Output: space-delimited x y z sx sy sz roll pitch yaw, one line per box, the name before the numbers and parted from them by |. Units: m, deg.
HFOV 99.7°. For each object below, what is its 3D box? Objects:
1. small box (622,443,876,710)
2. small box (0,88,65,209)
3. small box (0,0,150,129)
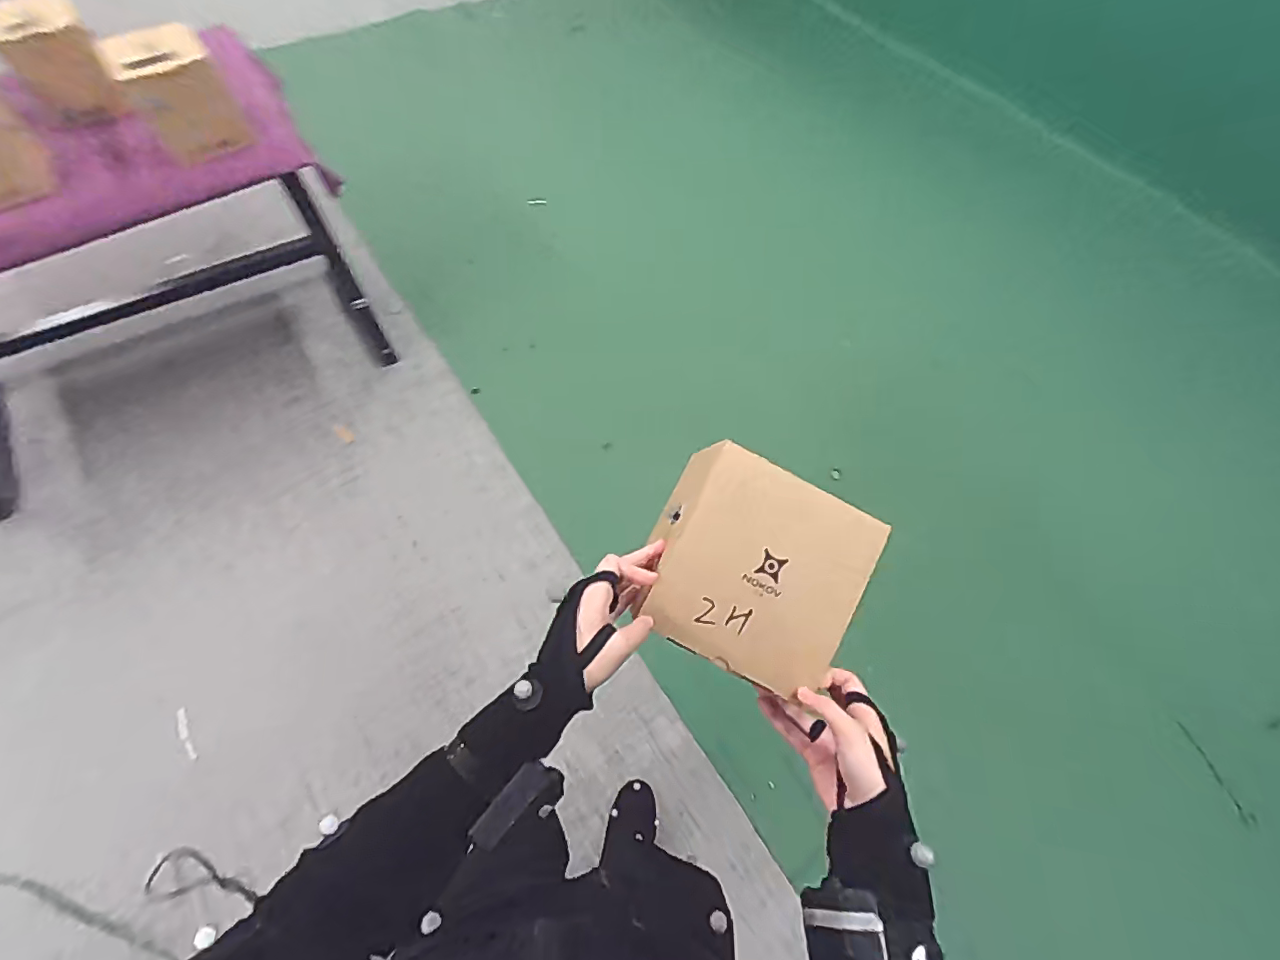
small box | 0.089 0.086 0.537 0.168 0.176 0.179 28 85 -2
small box | -1.269 -0.644 1.037 0.168 0.176 0.179 -28 65 -17
small box | -1.233 -0.903 1.187 0.168 0.176 0.179 -30 65 -18
